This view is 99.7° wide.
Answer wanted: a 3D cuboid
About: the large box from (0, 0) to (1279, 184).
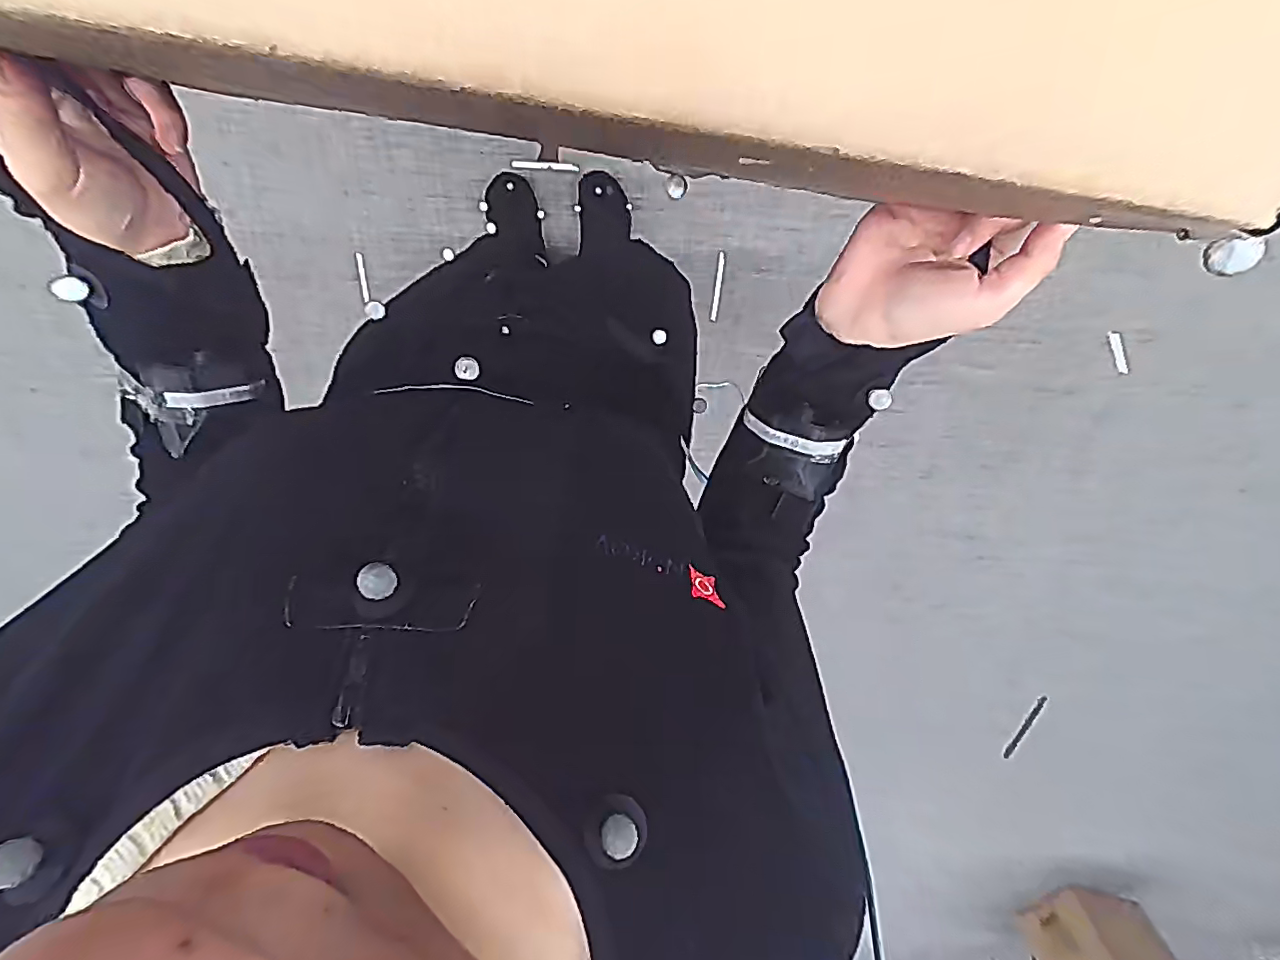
[{"bbox_3d":[-0.020,-0.298,0.164,0.408,0.320,0.320,5,121,-7],"label":"large box"}]
